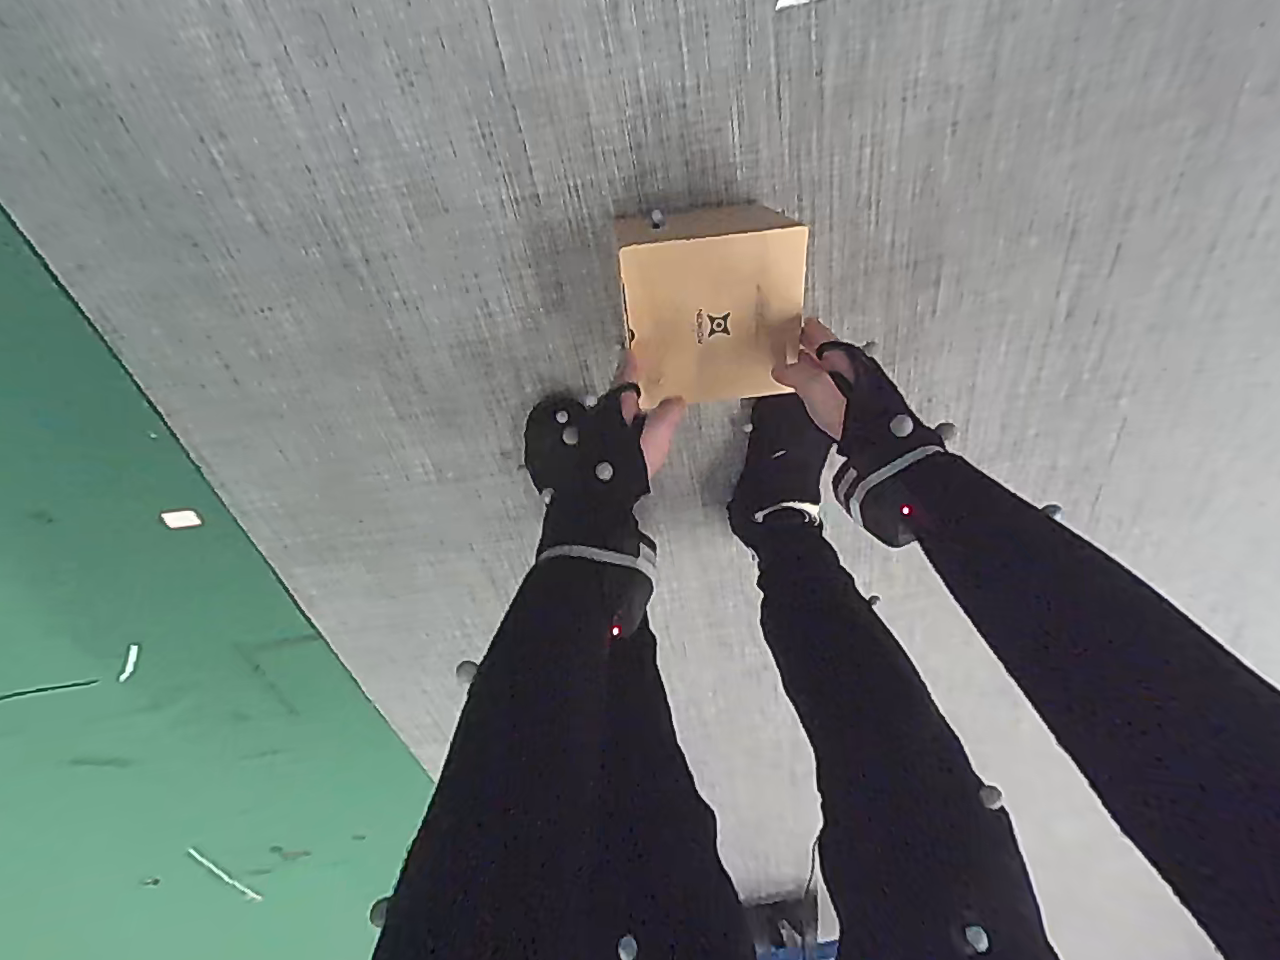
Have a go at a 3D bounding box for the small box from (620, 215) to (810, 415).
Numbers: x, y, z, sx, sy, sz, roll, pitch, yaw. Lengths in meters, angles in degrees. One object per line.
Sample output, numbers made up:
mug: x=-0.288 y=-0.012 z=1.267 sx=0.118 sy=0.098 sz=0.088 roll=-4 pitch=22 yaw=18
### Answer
small box: x=0.070 y=-0.188 z=0.601 sx=0.179 sy=0.176 sz=0.168 roll=-7 pitch=124 yaw=-1
